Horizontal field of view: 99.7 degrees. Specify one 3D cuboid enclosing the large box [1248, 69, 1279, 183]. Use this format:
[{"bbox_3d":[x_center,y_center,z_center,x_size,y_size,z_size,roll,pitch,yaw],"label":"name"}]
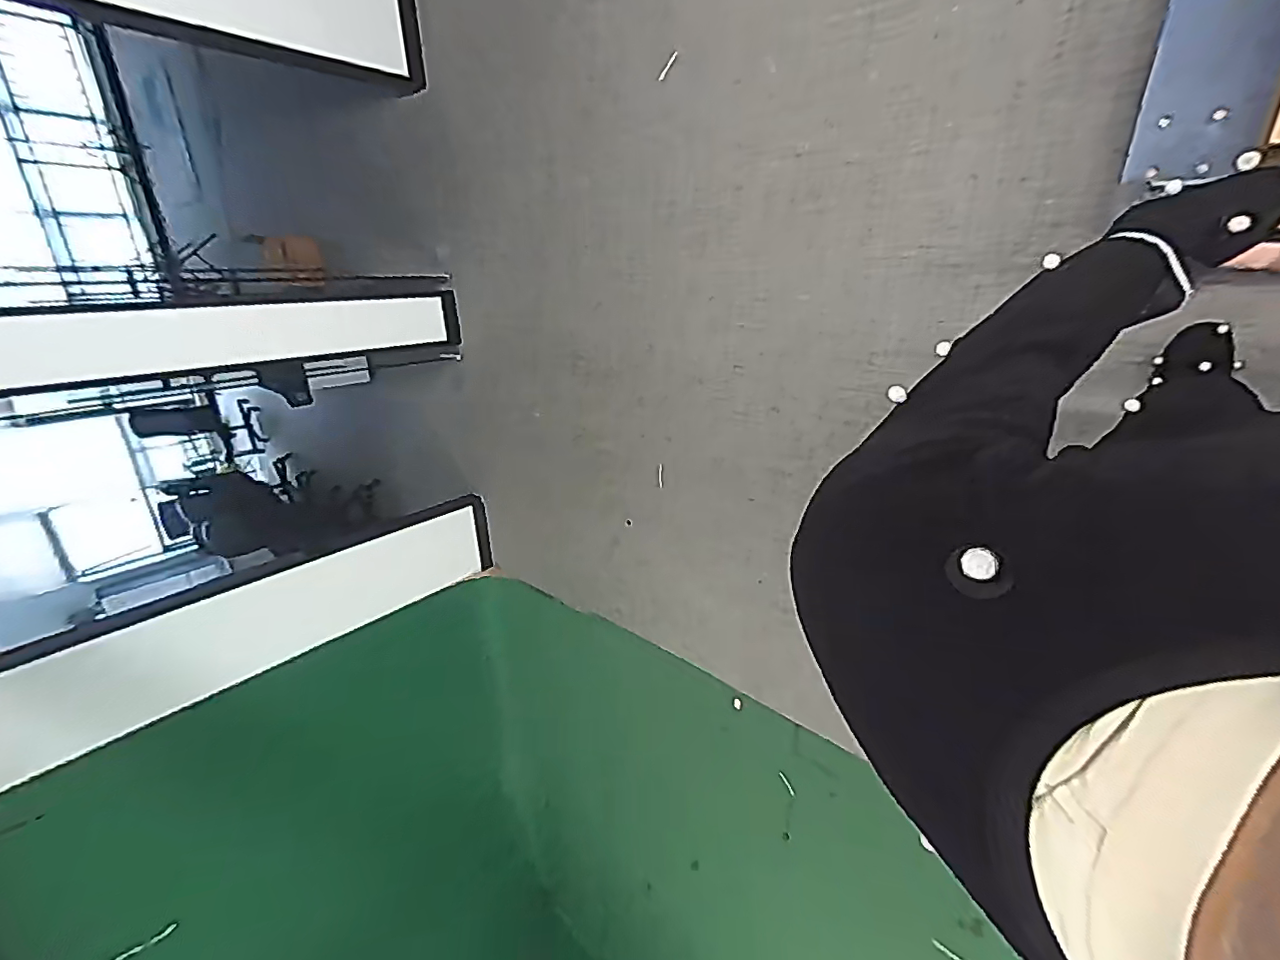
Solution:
[{"bbox_3d":[1.031,-0.620,0.651,0.320,0.320,0.408,16,115,39],"label":"large box"}]
